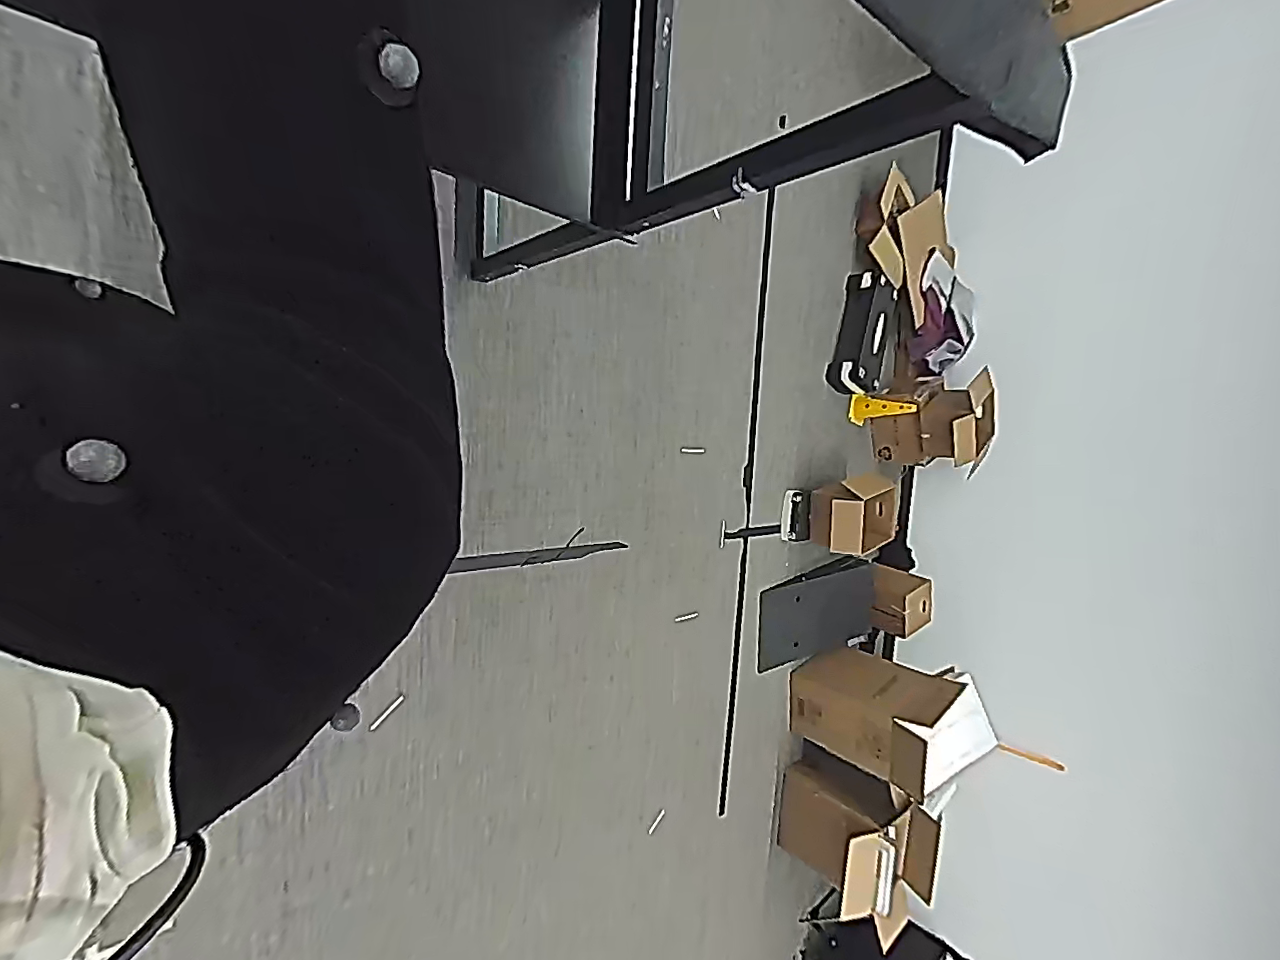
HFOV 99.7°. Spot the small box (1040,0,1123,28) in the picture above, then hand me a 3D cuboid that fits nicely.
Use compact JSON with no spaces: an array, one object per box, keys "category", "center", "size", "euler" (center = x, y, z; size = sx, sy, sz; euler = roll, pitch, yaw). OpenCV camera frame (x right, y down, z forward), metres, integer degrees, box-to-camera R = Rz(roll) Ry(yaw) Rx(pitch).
[{"category":"small box","center":[0.461,-0.575,0.488],"size":[0.168,0.176,0.179],"euler":[2,91,-42]}]
